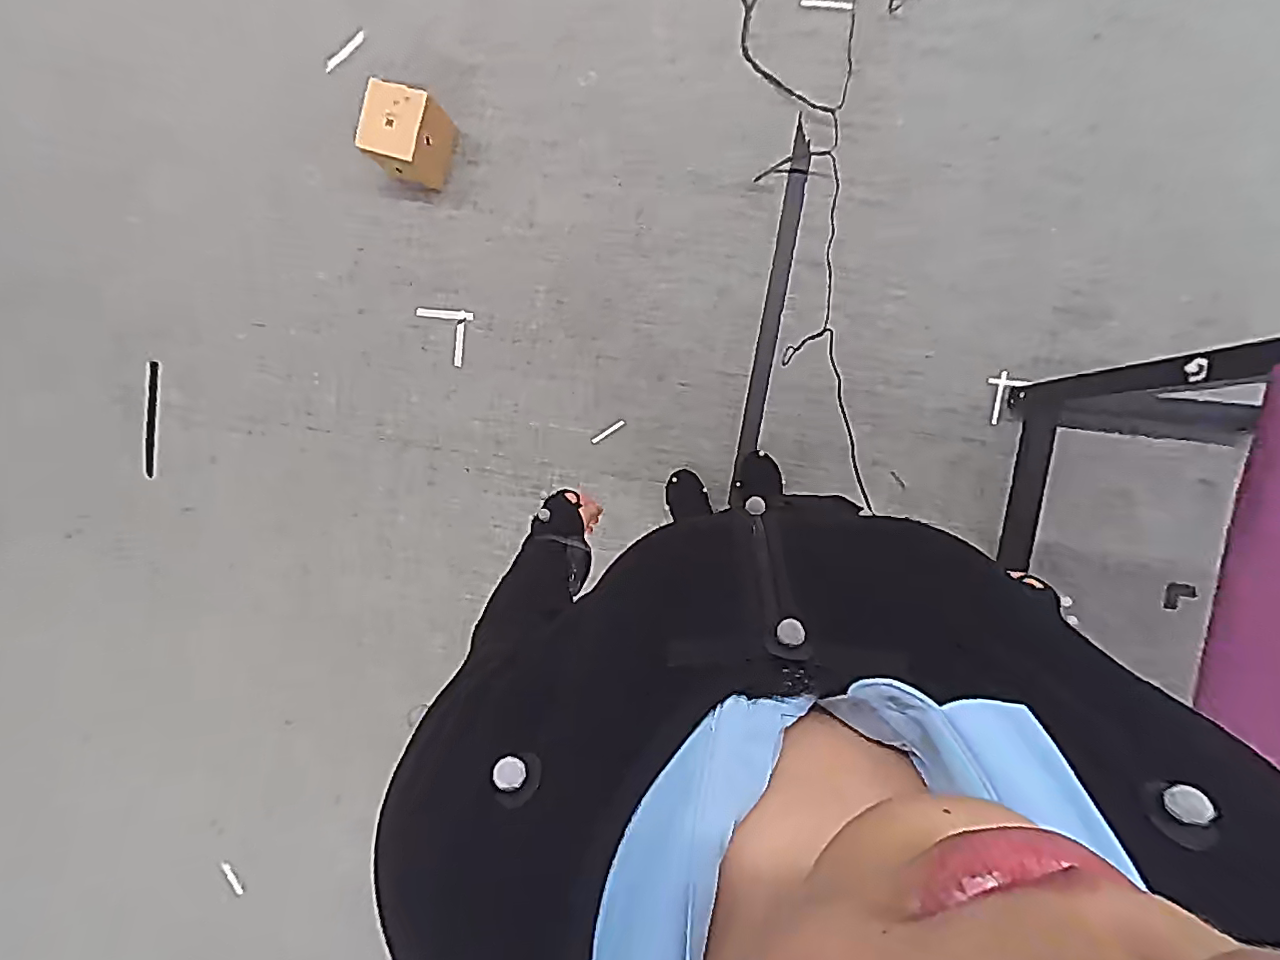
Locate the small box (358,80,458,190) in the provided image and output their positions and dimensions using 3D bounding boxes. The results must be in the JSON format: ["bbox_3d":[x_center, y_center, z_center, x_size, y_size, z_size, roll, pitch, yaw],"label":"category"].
[{"bbox_3d":[-0.614,-0.915,1.451,0.168,0.176,0.179,18,96,5],"label":"small box"}]
